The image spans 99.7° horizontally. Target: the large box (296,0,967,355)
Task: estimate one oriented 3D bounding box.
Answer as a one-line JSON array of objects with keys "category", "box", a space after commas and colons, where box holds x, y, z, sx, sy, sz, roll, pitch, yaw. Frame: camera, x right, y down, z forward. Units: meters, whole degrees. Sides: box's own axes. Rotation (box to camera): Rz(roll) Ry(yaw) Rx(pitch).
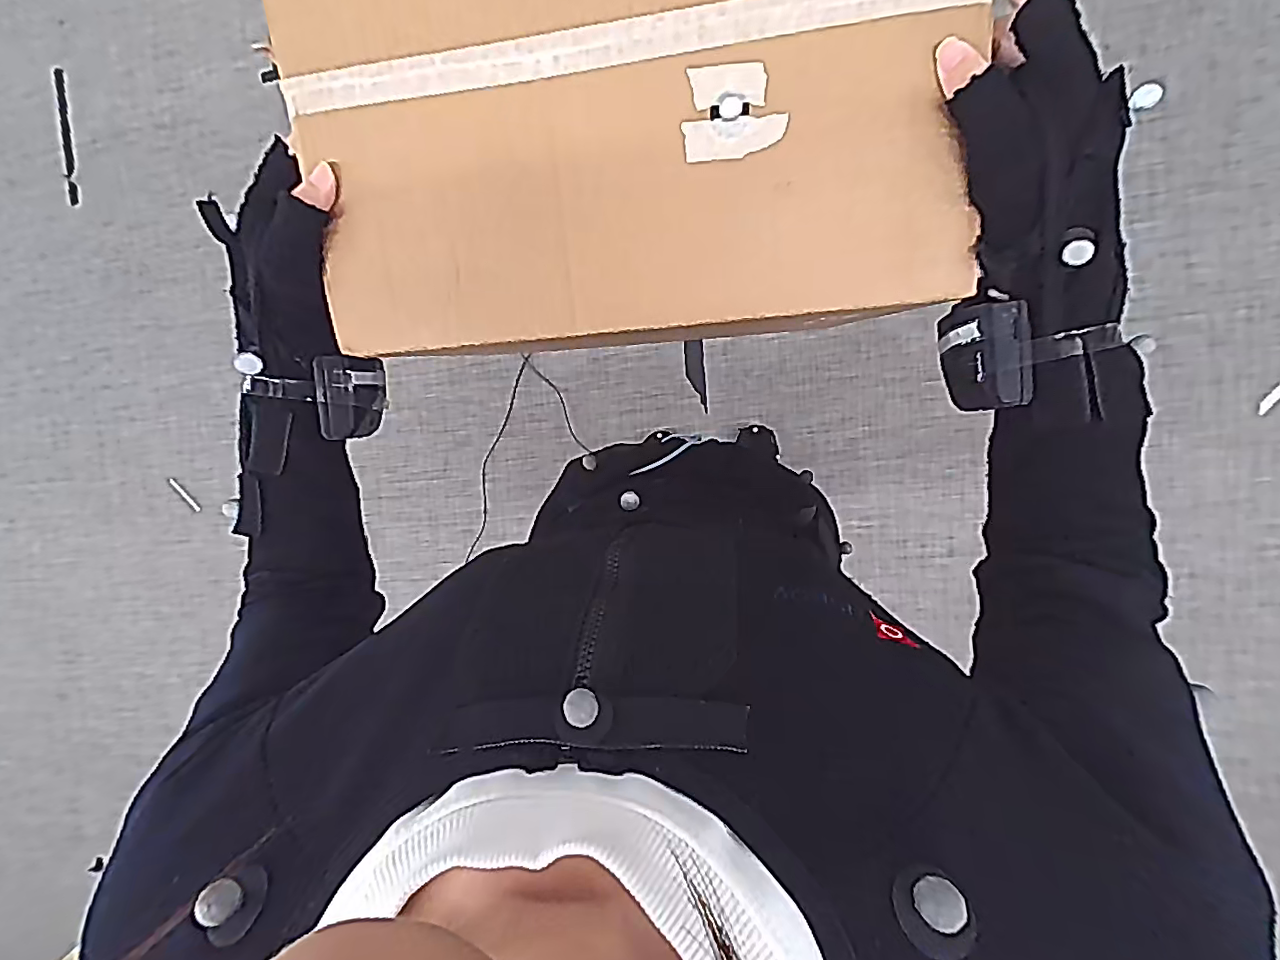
[{"category": "large box", "box": [0.001, -0.287, 0.469, 0.408, 0.320, 0.320, -4, 103, 7]}]
